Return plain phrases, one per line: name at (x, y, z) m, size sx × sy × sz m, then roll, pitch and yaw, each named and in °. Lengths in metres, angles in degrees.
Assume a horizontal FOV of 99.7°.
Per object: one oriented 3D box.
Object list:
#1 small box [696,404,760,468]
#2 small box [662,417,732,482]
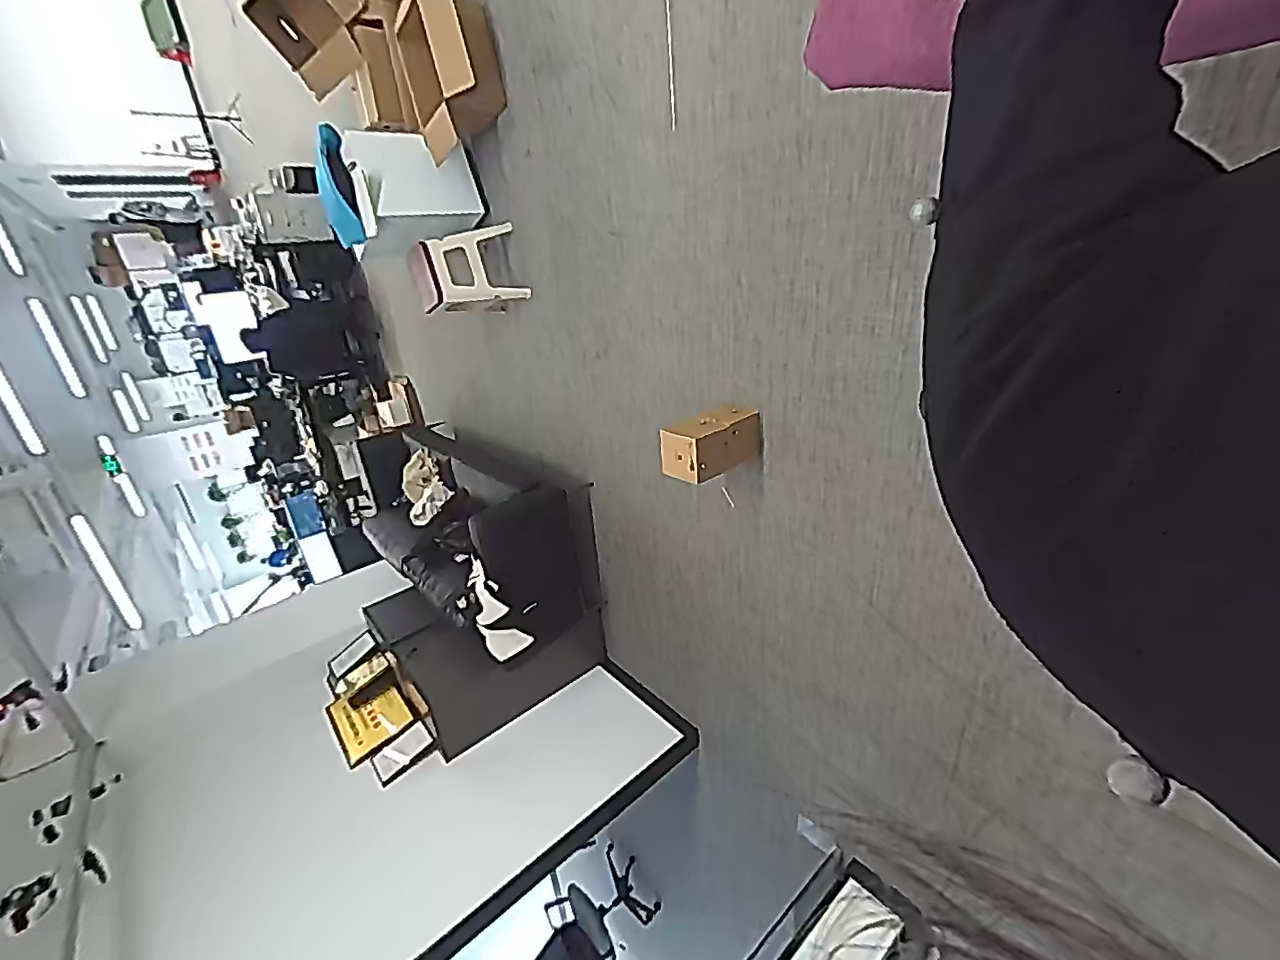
small box at (0.322, -0.165, 1.969) m, size 0.168 × 0.176 × 0.179 m, roll 22°, pitch 125°, yaw 46°
small box at (0.198, -0.114, 1.875) m, size 0.179 × 0.176 × 0.168 m, roll 22°, pitch 125°, yaw 47°
